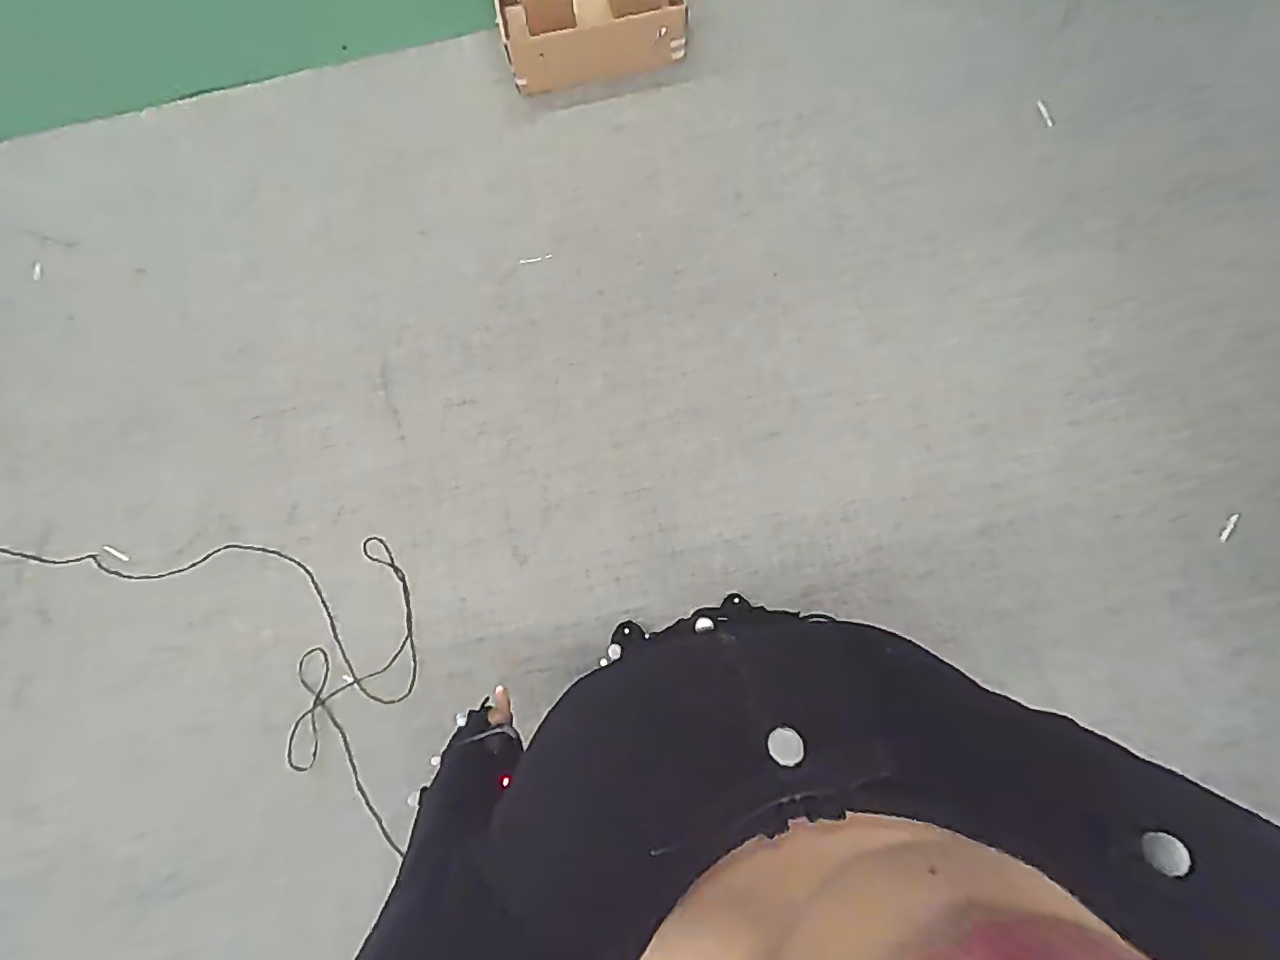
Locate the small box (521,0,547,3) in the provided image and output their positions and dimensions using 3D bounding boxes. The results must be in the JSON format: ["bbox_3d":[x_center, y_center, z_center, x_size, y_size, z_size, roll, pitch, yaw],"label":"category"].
[{"bbox_3d":[-0.323,-1.630,1.674,0.168,0.176,0.179,-15,78,-1],"label":"small box"}]
